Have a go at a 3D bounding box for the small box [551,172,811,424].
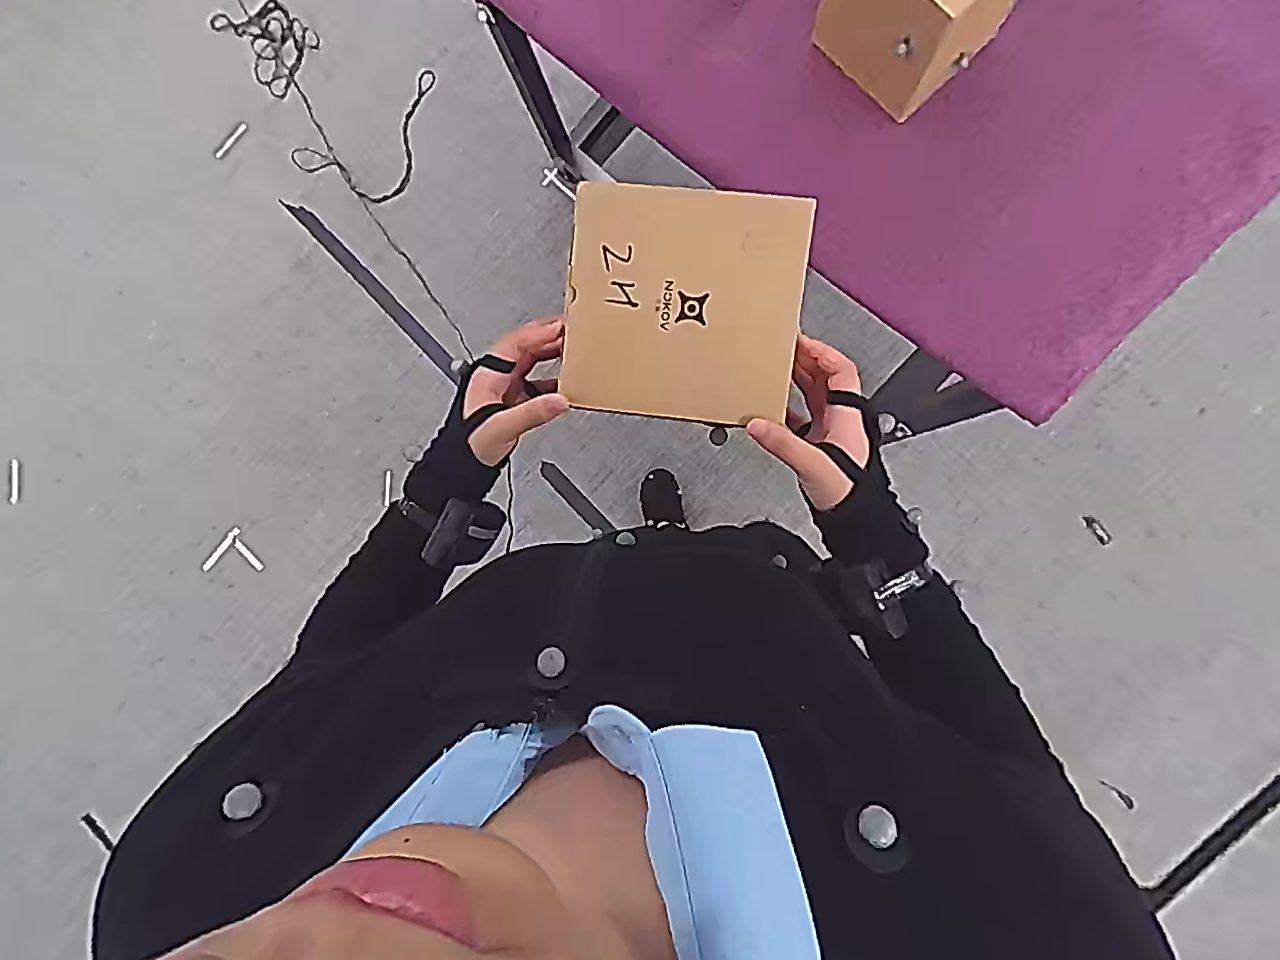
[{"bbox_3d":[0.034,-0.142,0.476,0.179,0.176,0.168,7,96,5],"label":"small box"}]
